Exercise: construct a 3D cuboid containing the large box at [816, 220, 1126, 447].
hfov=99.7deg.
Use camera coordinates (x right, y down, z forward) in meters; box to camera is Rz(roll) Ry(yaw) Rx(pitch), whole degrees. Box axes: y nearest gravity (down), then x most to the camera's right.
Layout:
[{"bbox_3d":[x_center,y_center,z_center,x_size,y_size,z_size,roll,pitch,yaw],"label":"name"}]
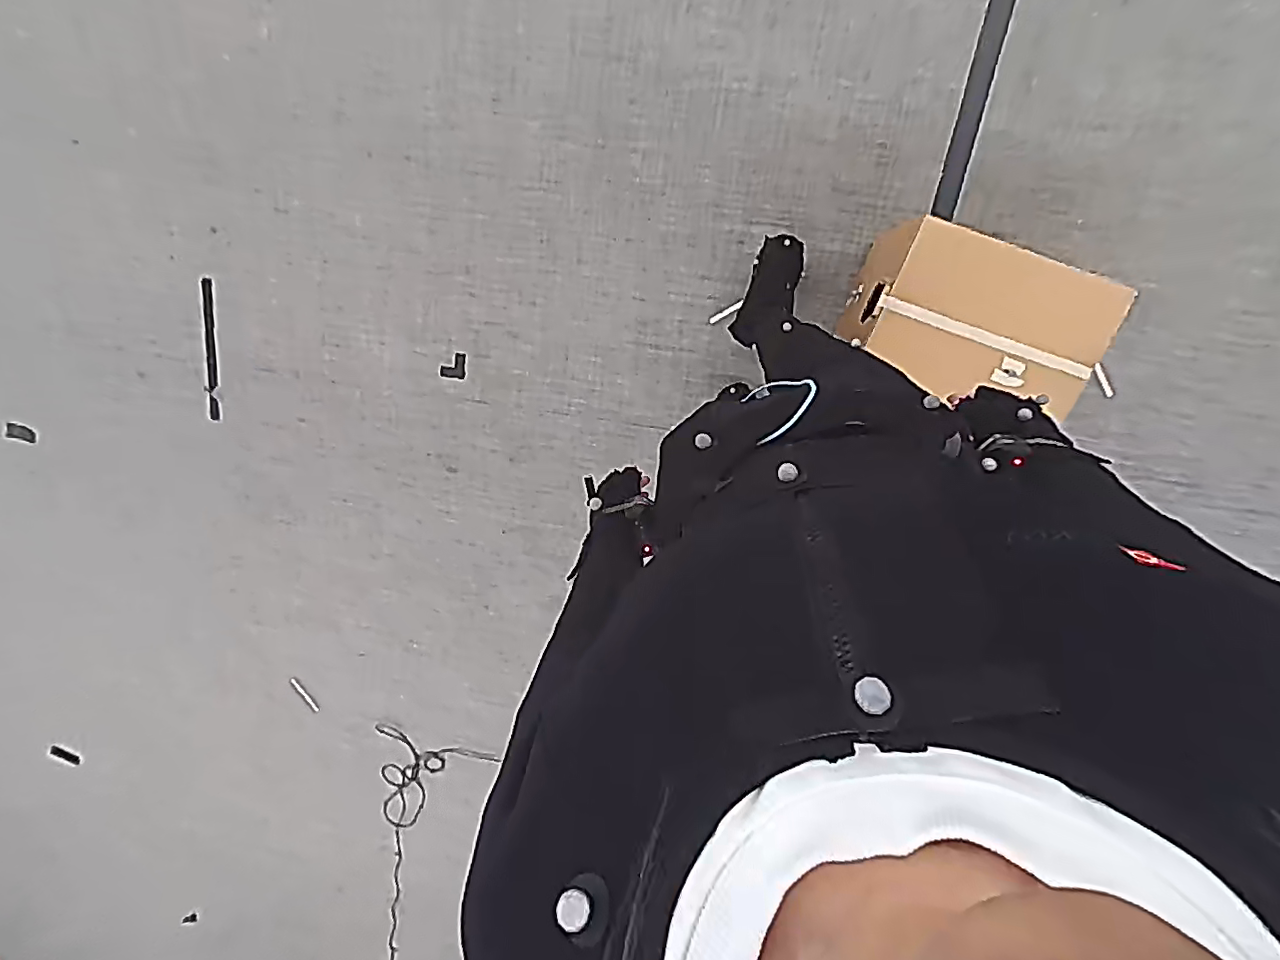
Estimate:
[{"bbox_3d":[0.646,-0.304,1.146,0.408,0.320,0.320,20,108,0],"label":"large box"}]
